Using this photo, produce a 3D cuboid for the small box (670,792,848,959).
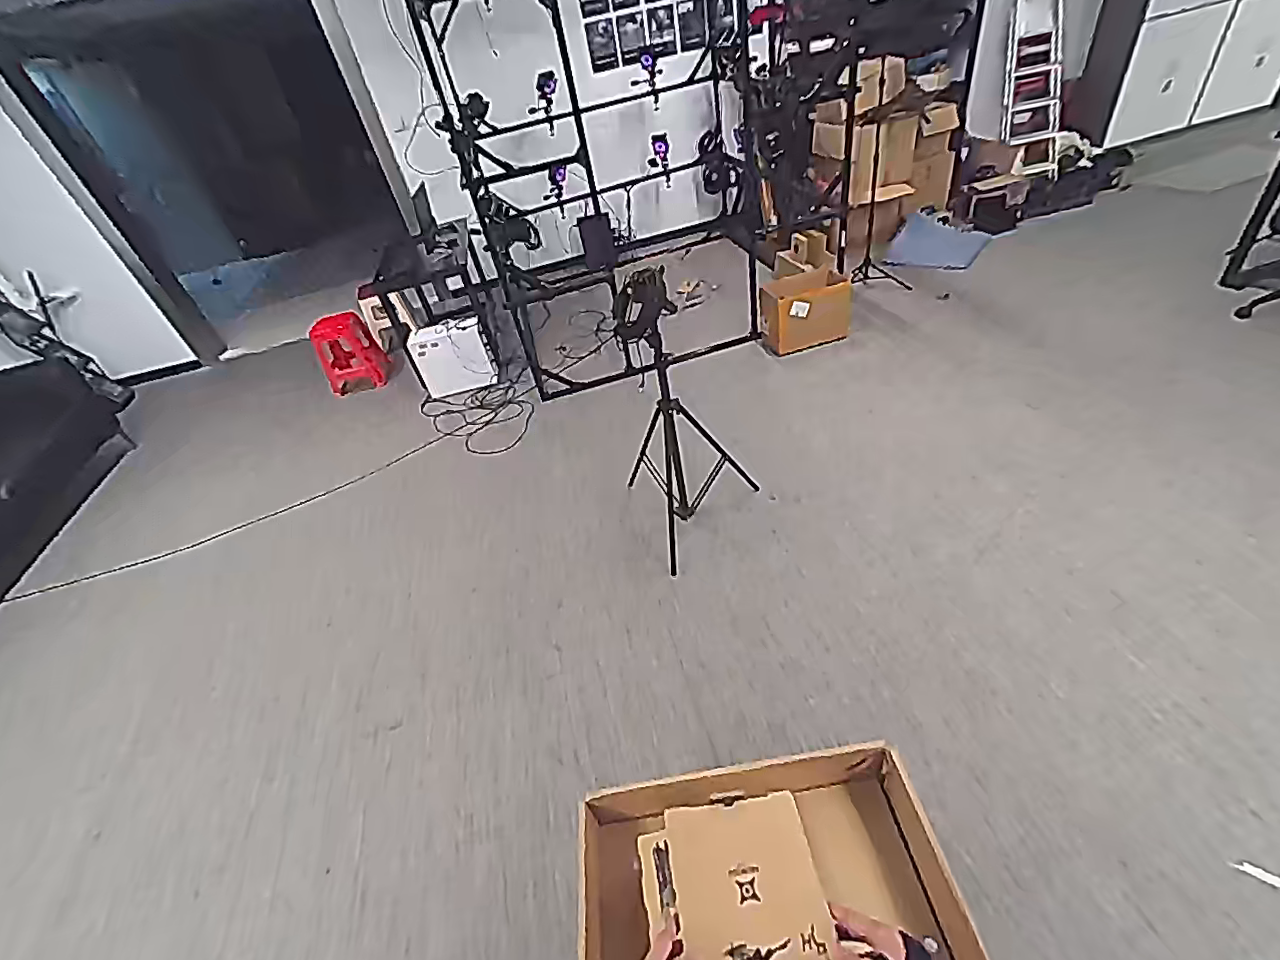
[{"bbox_3d":[0.129,0.517,0.657,0.168,0.176,0.179,-7,38,-3],"label":"small box"}]
